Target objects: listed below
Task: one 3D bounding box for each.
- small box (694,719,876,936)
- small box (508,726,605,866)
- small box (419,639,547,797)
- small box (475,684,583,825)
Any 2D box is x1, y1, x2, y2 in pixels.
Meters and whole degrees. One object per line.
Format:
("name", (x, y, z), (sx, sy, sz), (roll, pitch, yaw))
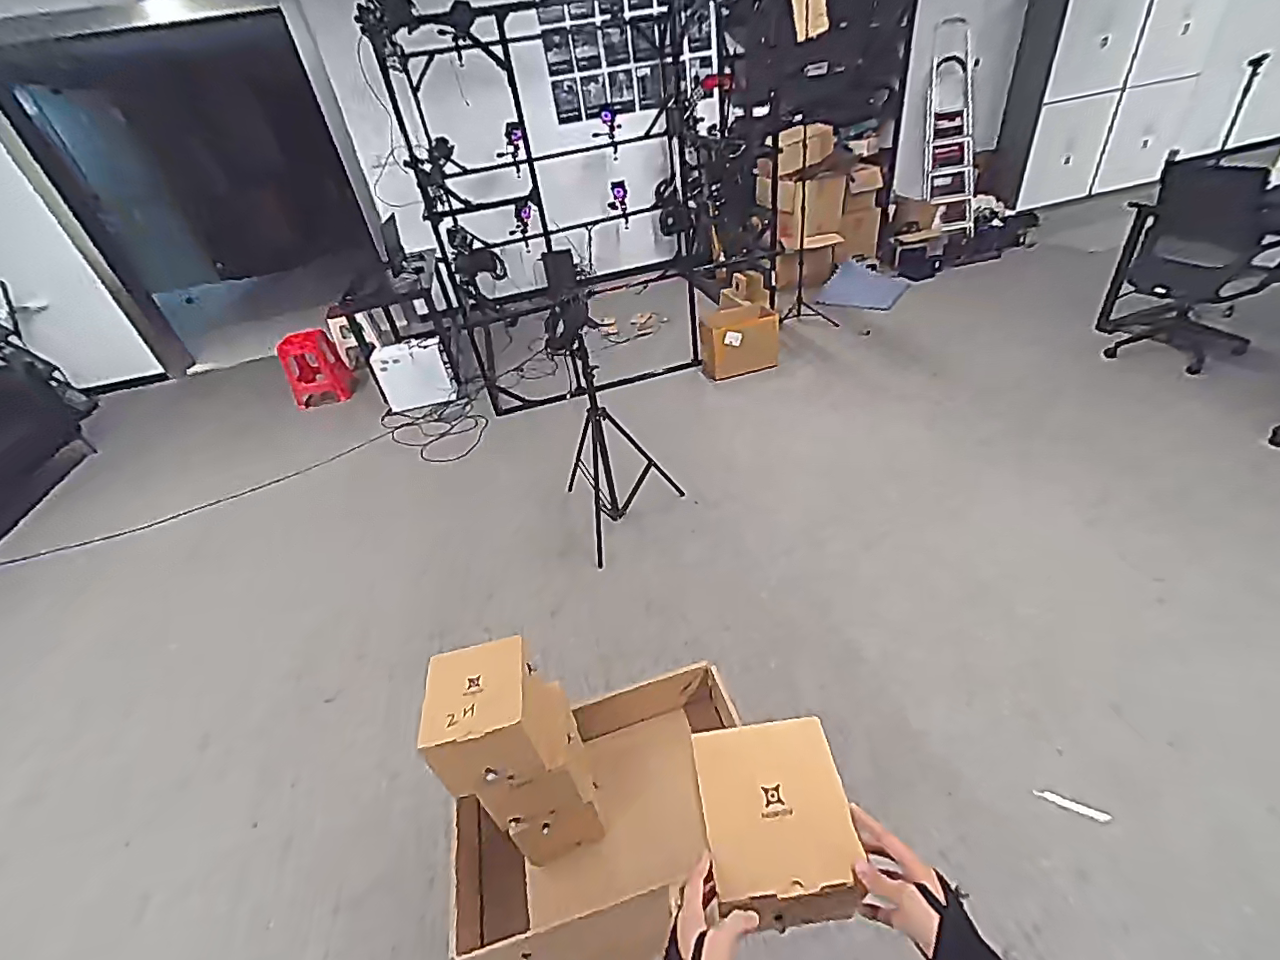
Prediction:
("small box", (0.162, 0.429, 0.671), (0.168, 0.176, 0.179), (-9, 42, -1))
("small box", (-0.183, 0.665, 1.143), (0.168, 0.176, 0.179), (-18, 36, -10))
("small box", (-0.264, 0.413, 0.944), (0.168, 0.176, 0.179), (-13, 37, -4))
("small box", (-0.211, 0.535, 1.046), (0.168, 0.176, 0.179), (-13, 36, -5))
